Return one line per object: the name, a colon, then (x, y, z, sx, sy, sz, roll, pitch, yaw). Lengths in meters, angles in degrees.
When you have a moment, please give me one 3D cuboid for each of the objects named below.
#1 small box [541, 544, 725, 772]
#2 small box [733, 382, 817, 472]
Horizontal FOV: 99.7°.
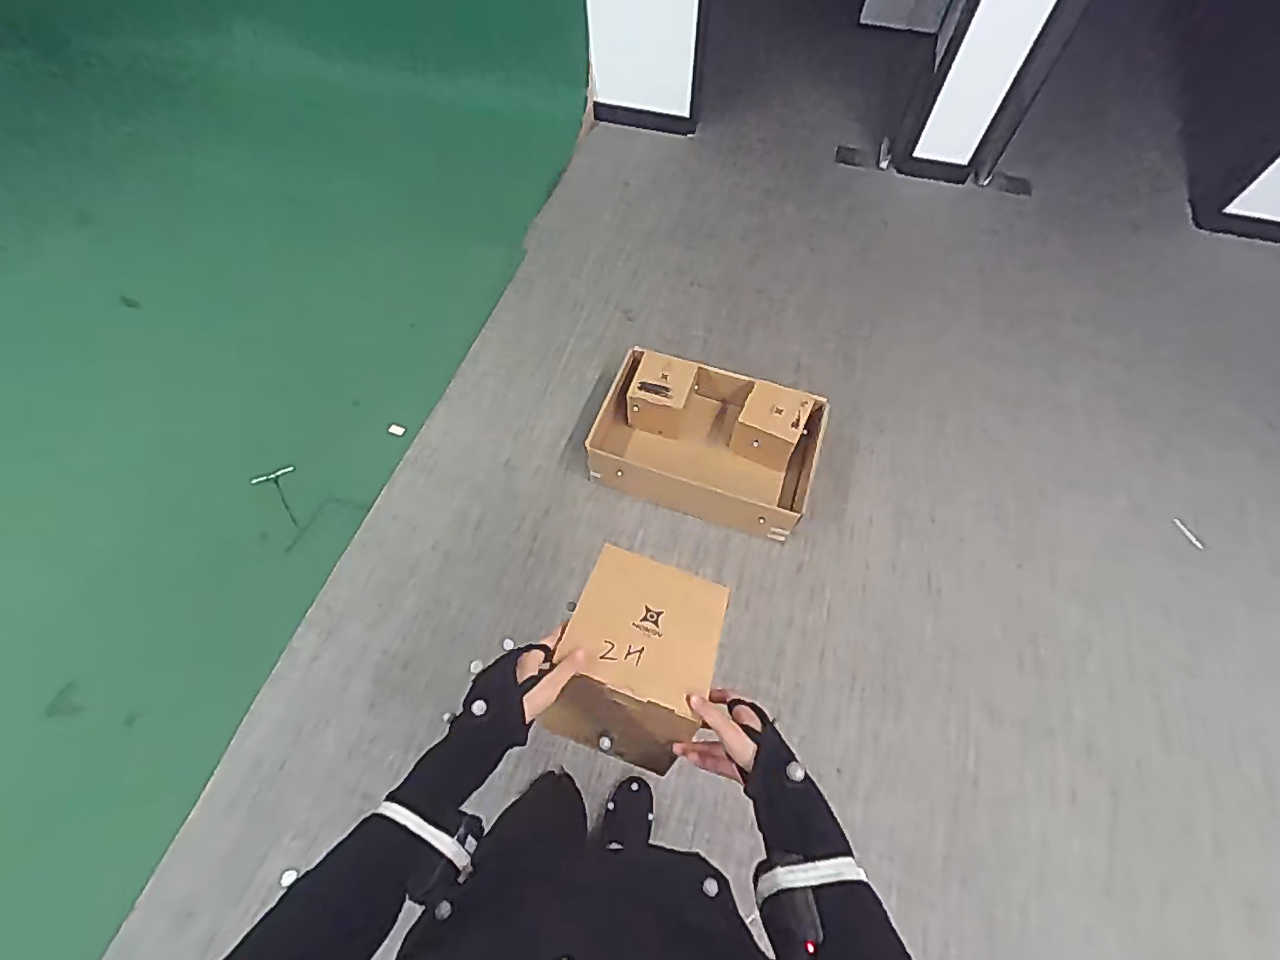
small box: (-0.012, 0.217, 0.660, 0.168, 0.176, 0.179, 21, 43, 5)
small box: (0.384, -0.147, 1.570, 0.179, 0.176, 0.168, 25, 66, 14)
